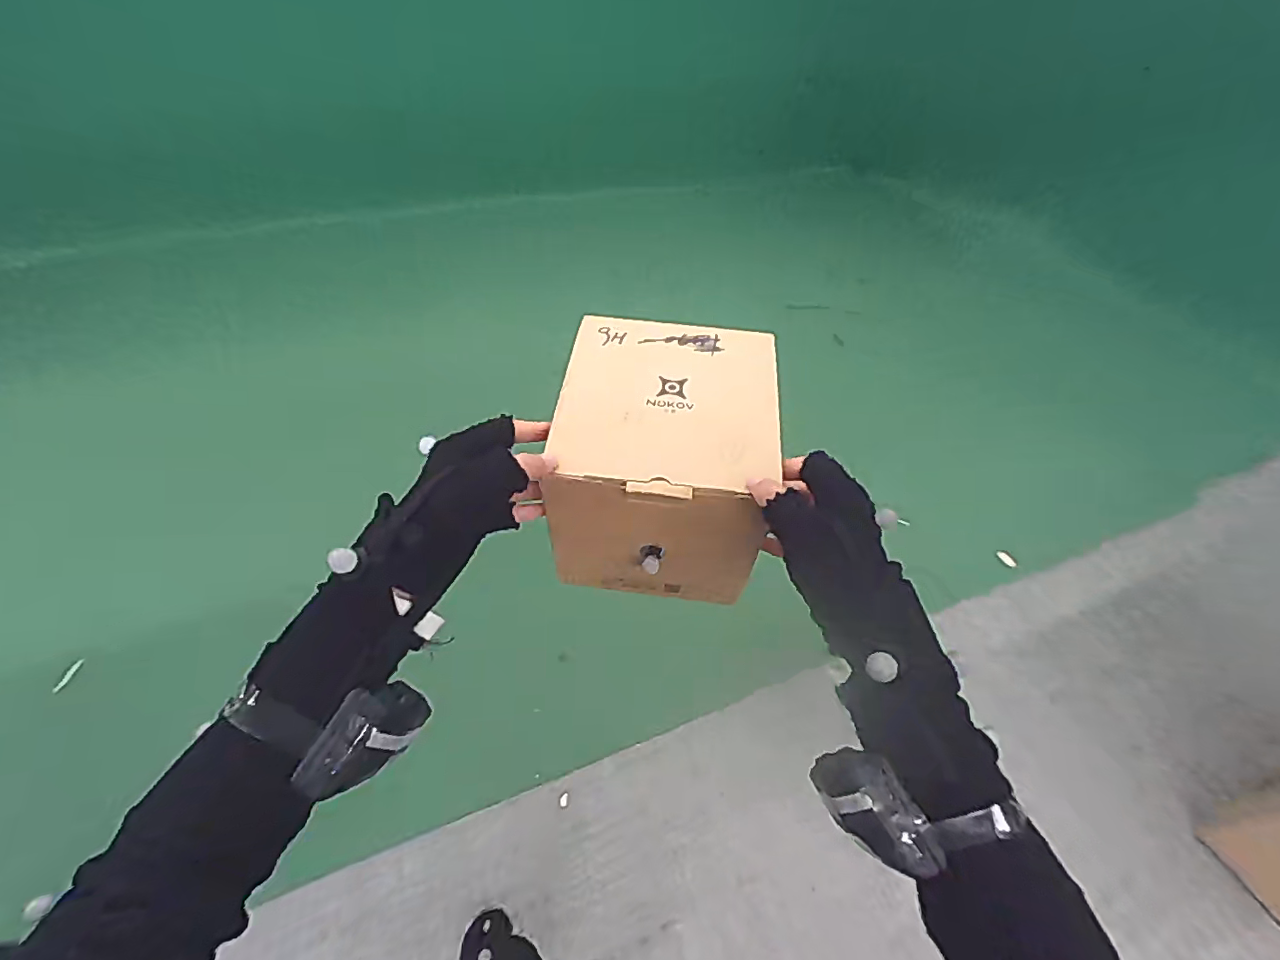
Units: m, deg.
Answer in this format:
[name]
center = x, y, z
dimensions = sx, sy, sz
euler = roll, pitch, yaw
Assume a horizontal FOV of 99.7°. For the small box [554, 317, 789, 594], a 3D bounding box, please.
[small box]
center = 0.030, -0.016, 0.480
dimensions = 0.168, 0.176, 0.179
euler = 7, 54, 3
